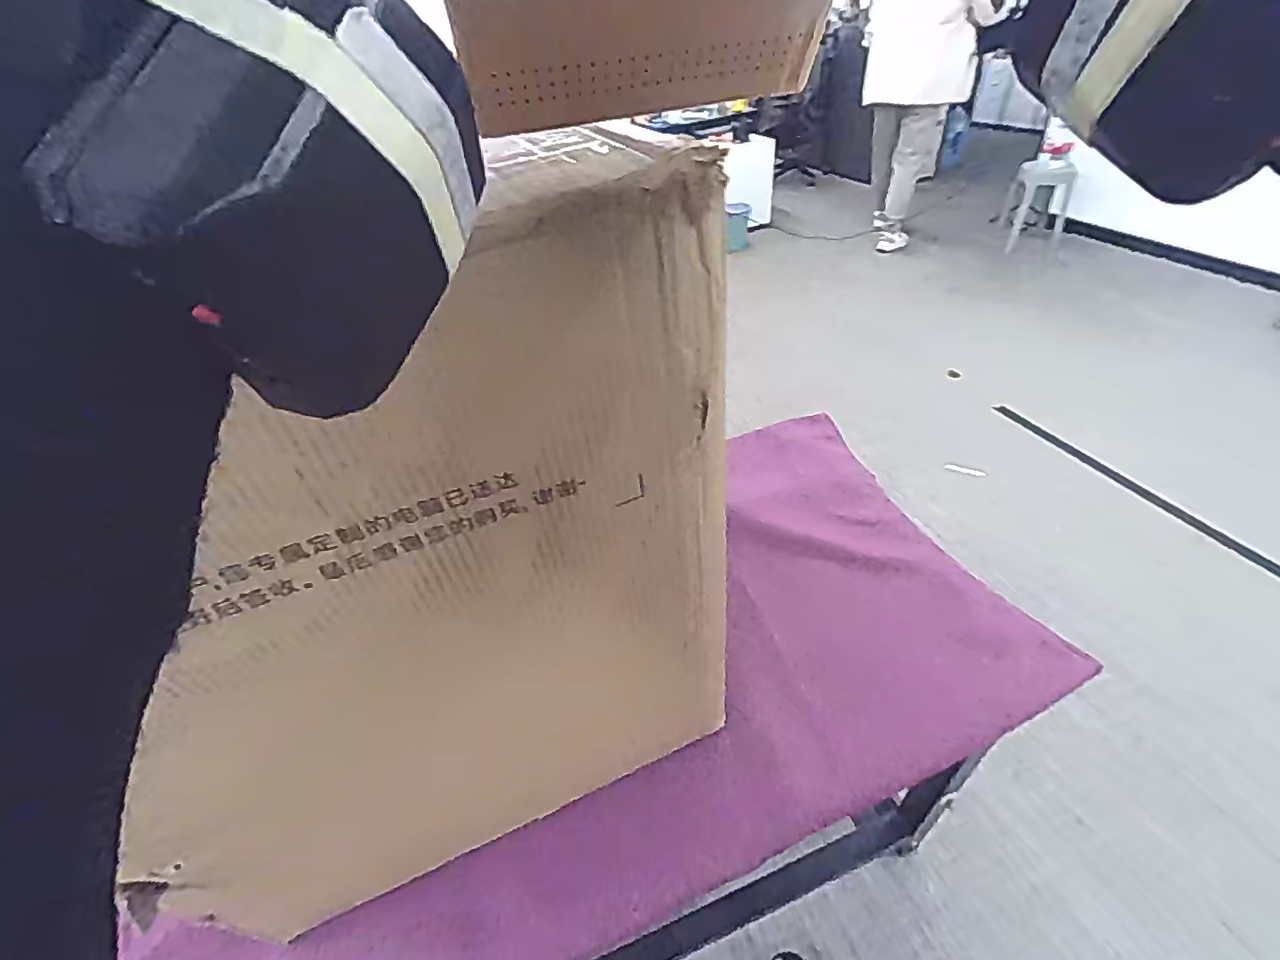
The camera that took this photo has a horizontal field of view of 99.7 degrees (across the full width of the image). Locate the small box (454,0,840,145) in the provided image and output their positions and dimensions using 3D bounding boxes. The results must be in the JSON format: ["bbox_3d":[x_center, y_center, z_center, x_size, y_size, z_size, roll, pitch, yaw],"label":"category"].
[{"bbox_3d":[-0.004,-0.280,0.225,0.179,0.176,0.168,-13,74,-6],"label":"small box"}]
